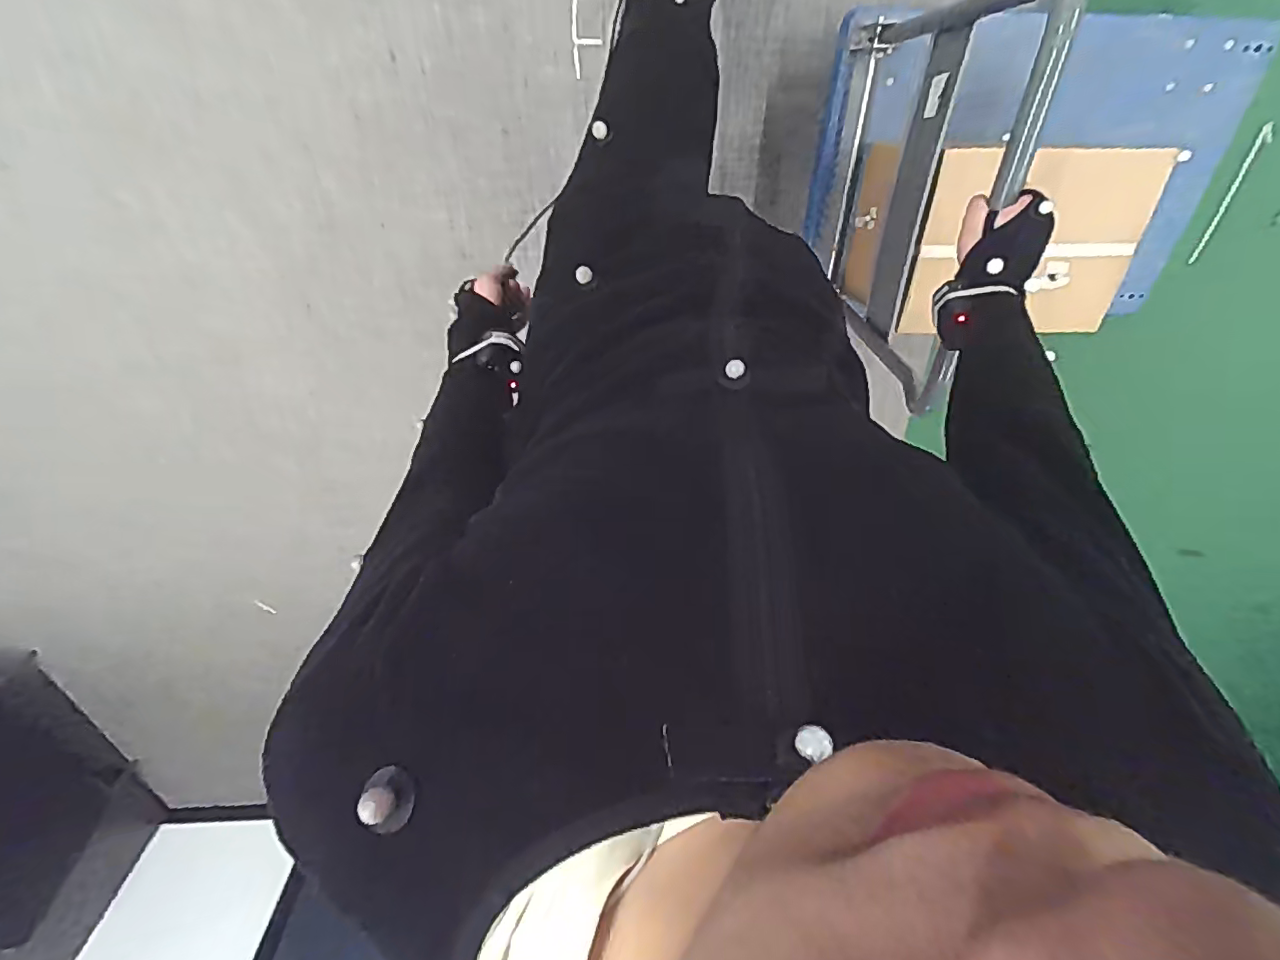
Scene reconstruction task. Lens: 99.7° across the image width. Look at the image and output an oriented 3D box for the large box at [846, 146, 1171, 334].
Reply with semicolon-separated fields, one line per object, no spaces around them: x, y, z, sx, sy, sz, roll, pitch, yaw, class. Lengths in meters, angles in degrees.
0.696;-0.503;1.113;0.408;0.320;0.320;-1;124;-2;large box
